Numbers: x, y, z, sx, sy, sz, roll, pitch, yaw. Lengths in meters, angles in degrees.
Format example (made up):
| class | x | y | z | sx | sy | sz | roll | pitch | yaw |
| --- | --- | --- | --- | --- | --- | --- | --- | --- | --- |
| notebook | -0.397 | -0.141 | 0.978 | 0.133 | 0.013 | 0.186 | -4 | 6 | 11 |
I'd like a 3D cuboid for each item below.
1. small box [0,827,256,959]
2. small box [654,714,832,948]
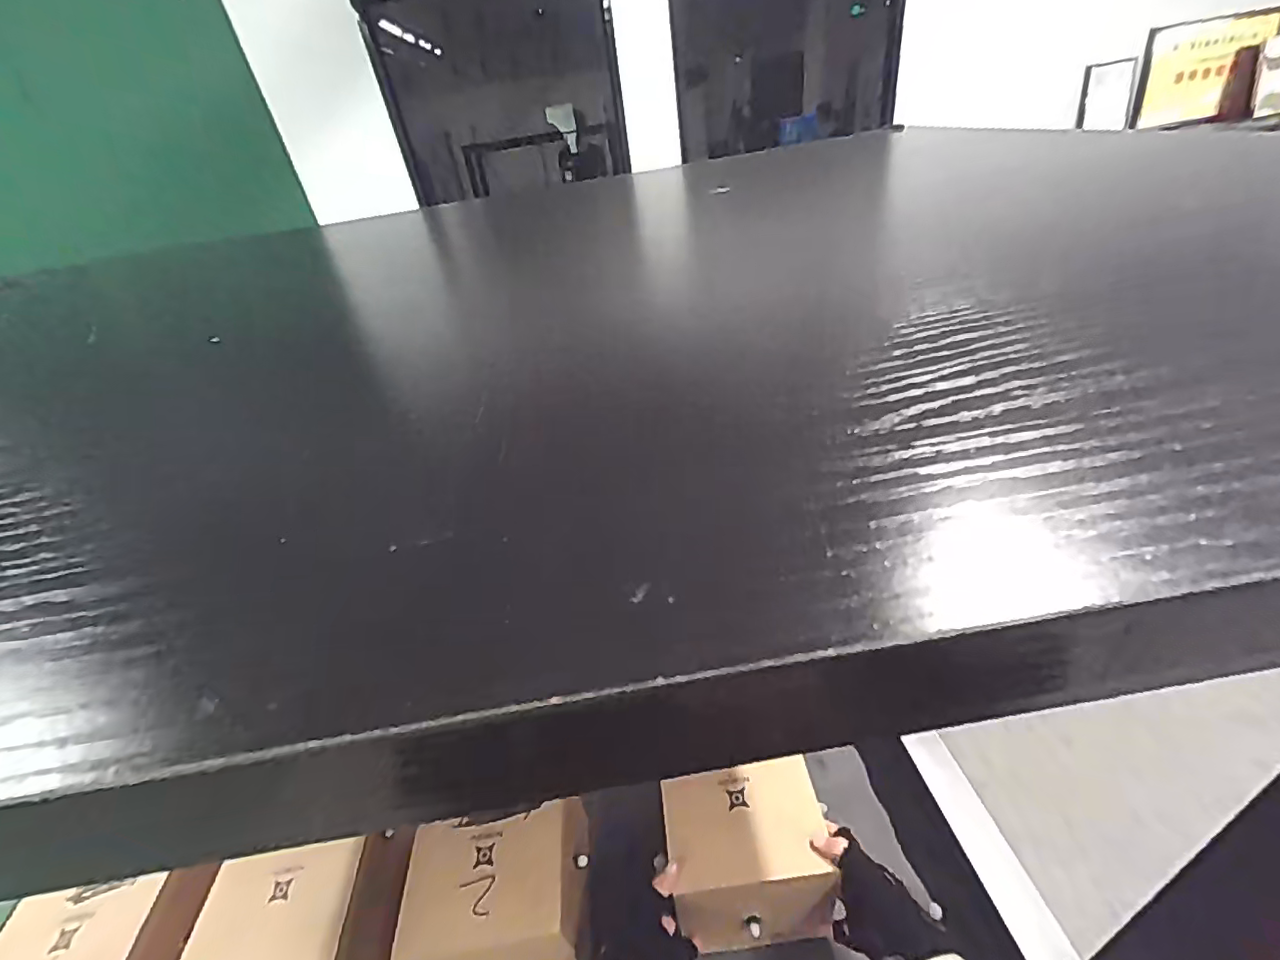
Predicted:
| class | x | y | z | sx | sy | sz | roll | pitch | yaw |
| --- | --- | --- | --- | --- | --- | --- | --- | --- | --- |
| small box | -0.585 | 0.541 | 0.615 | 0.168 | 0.176 | 0.179 | -12 | 34 | -3 |
| small box | 0.113 | 0.408 | 0.629 | 0.168 | 0.176 | 0.179 | -8 | 32 | 1 |
